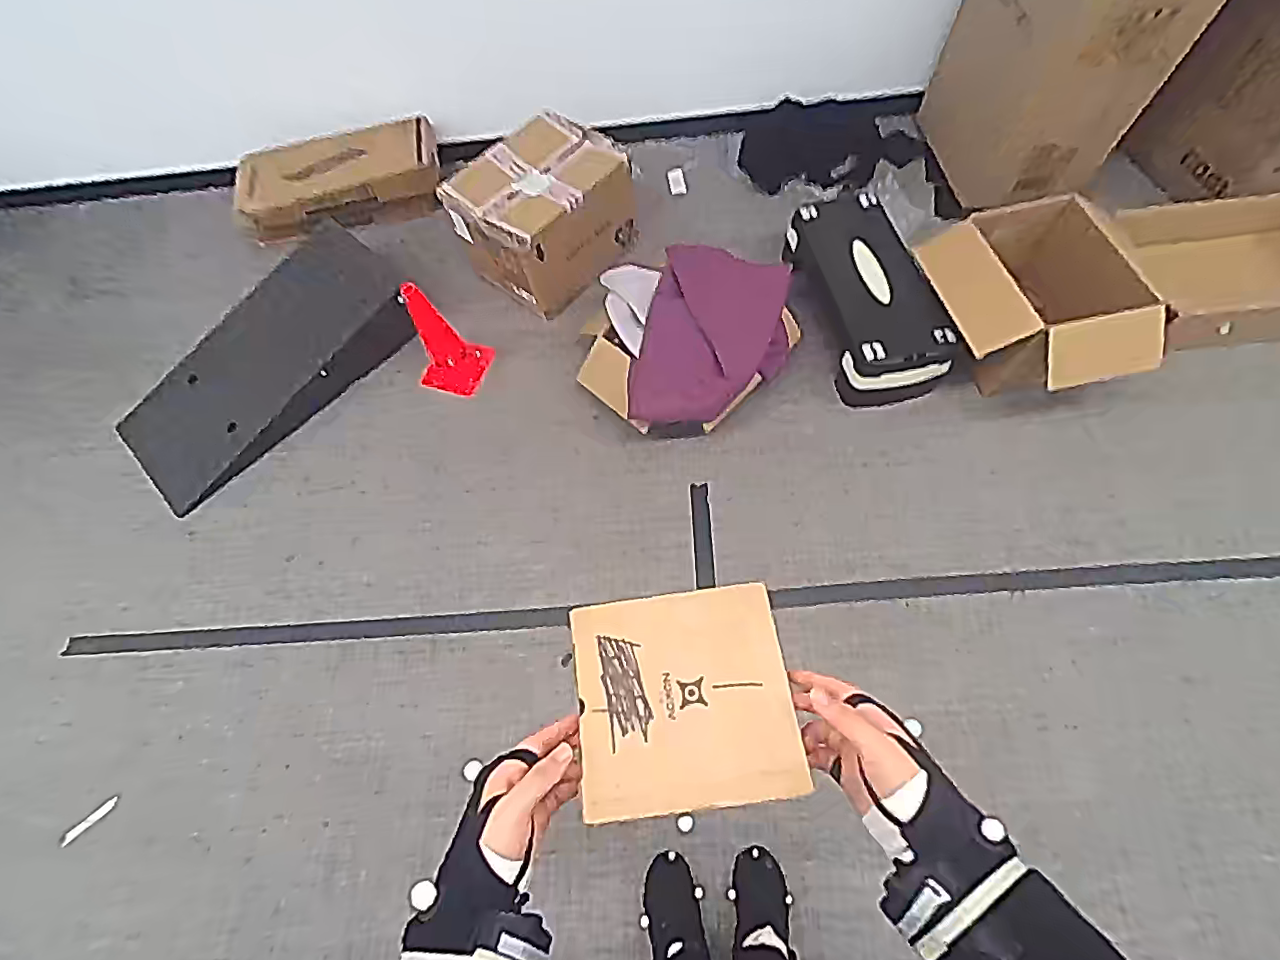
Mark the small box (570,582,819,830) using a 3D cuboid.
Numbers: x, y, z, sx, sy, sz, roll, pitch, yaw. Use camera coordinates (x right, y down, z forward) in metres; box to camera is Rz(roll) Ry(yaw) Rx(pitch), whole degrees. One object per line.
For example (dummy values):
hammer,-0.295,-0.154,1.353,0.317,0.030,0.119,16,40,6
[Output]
small box,0.043,0.206,0.493,0.179,0.176,0.168,-9,63,2
